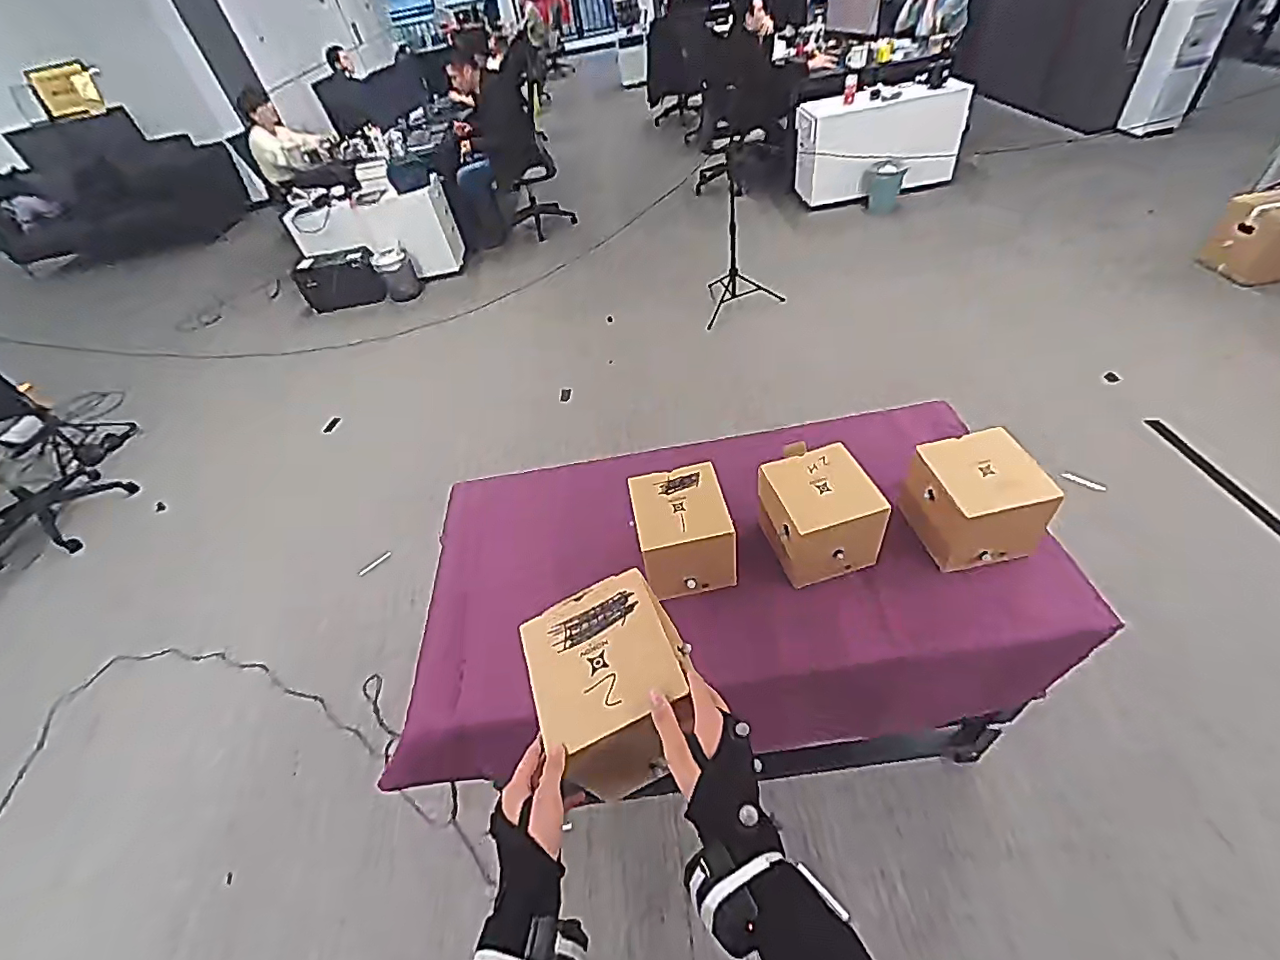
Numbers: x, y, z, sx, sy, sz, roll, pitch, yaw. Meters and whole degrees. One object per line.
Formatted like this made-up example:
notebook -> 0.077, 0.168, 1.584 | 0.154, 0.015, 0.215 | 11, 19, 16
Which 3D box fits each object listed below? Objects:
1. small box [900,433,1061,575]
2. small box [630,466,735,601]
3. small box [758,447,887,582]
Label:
small box -> 0.602, 0.045, 0.988 | 0.168, 0.176, 0.179 | -12, 45, 1
small box -> 0.081, 0.103, 1.036 | 0.168, 0.176, 0.179 | -12, 46, 0
small box -> 0.332, 0.071, 1.016 | 0.168, 0.176, 0.179 | -15, 45, -4
